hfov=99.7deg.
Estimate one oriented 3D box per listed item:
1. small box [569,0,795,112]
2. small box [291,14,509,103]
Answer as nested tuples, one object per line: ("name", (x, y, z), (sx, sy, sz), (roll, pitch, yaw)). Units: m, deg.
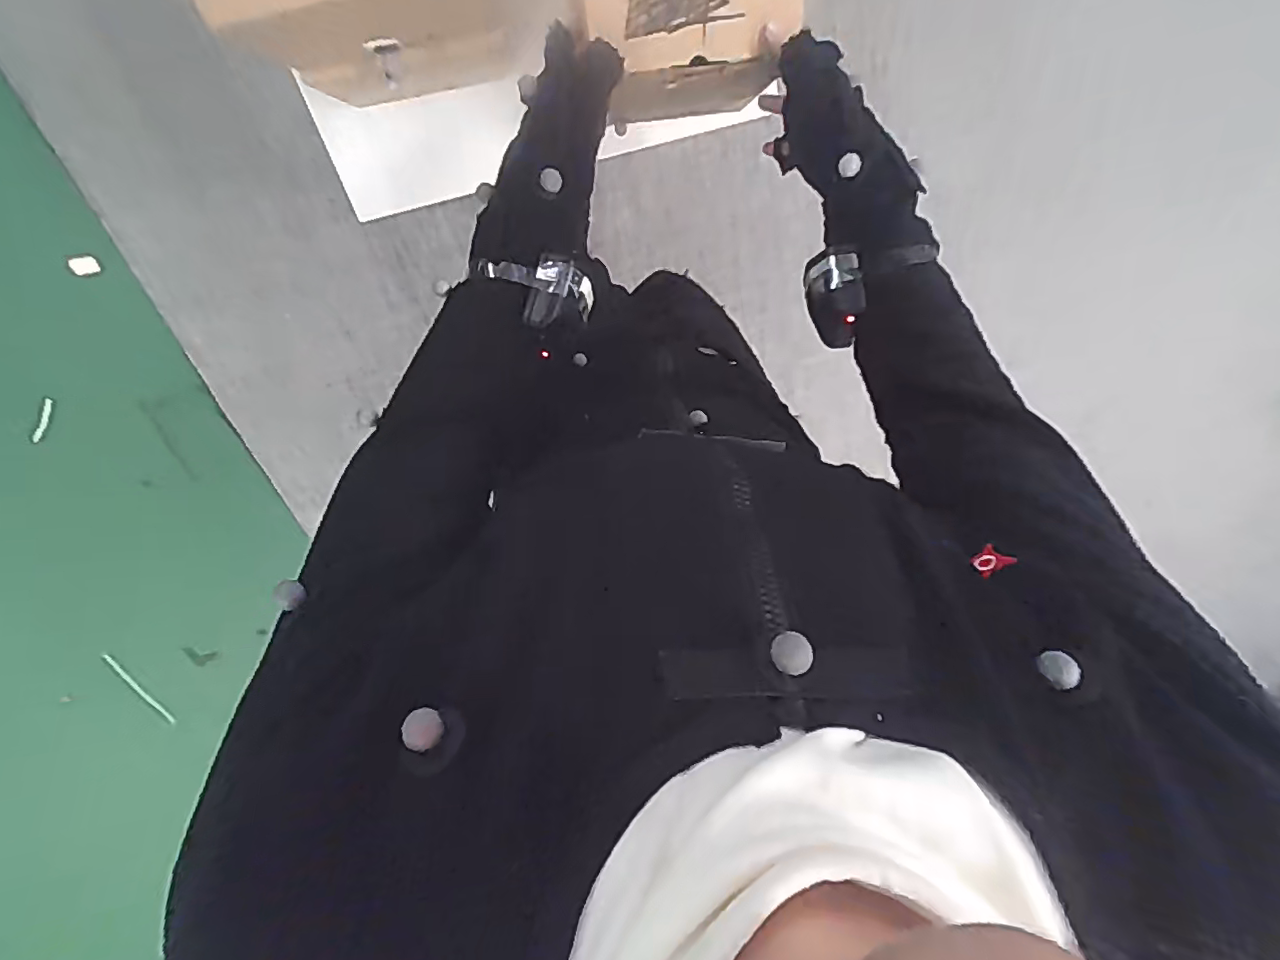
("small box", (0.023, -0.432, 0.455), (0.168, 0.176, 0.179), (-9, 112, -3))
("small box", (-0.216, -0.451, 0.461), (0.168, 0.176, 0.179), (-14, 119, -3))
